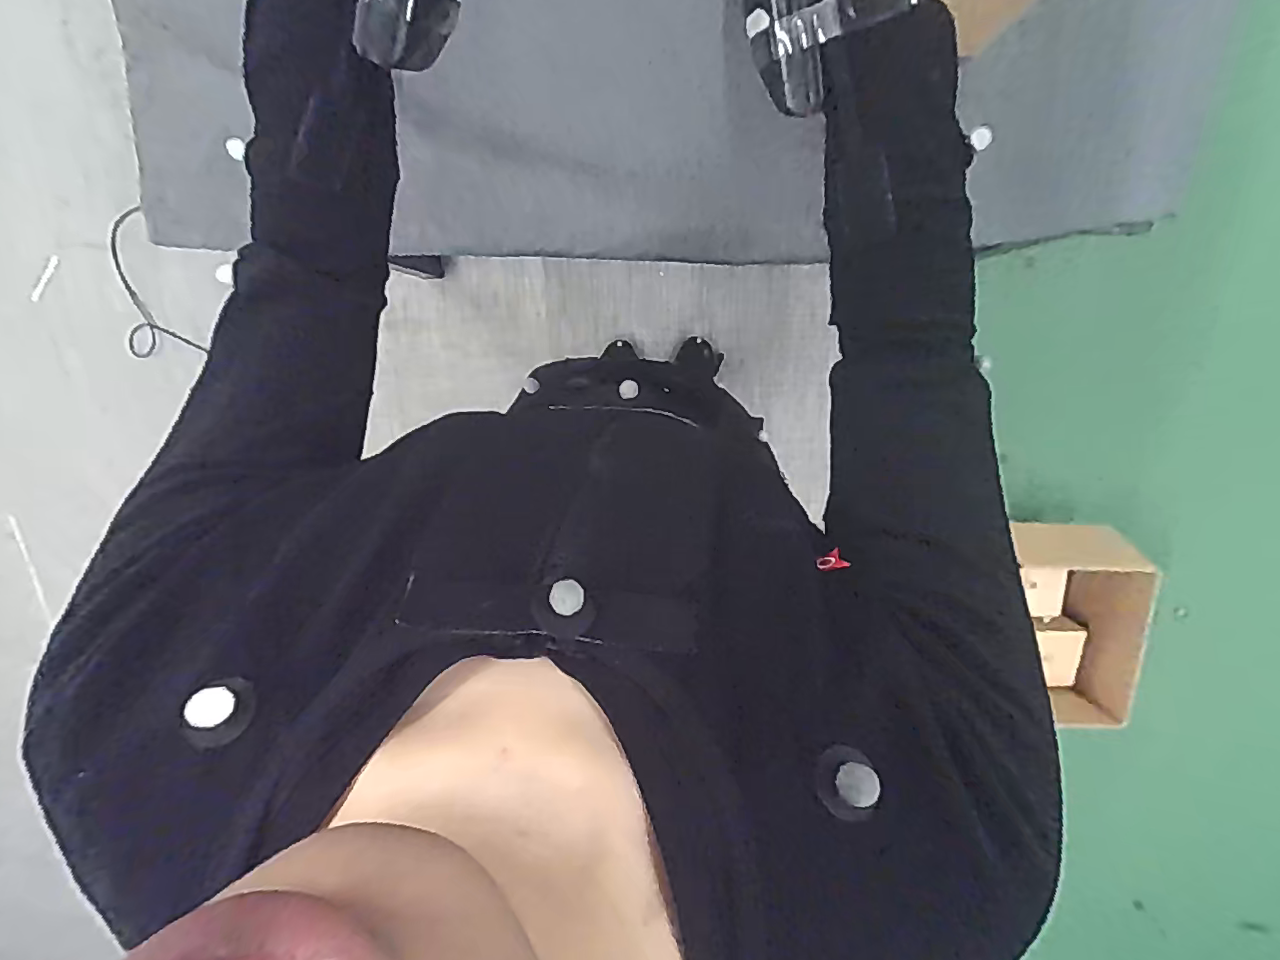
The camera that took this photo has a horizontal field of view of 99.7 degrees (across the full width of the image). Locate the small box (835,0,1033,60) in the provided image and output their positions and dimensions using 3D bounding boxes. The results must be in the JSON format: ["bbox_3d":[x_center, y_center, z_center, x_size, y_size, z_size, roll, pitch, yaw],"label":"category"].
[{"bbox_3d":[0.294,-0.541,0.510,0.168,0.176,0.179,-1,104,2],"label":"small box"}]
